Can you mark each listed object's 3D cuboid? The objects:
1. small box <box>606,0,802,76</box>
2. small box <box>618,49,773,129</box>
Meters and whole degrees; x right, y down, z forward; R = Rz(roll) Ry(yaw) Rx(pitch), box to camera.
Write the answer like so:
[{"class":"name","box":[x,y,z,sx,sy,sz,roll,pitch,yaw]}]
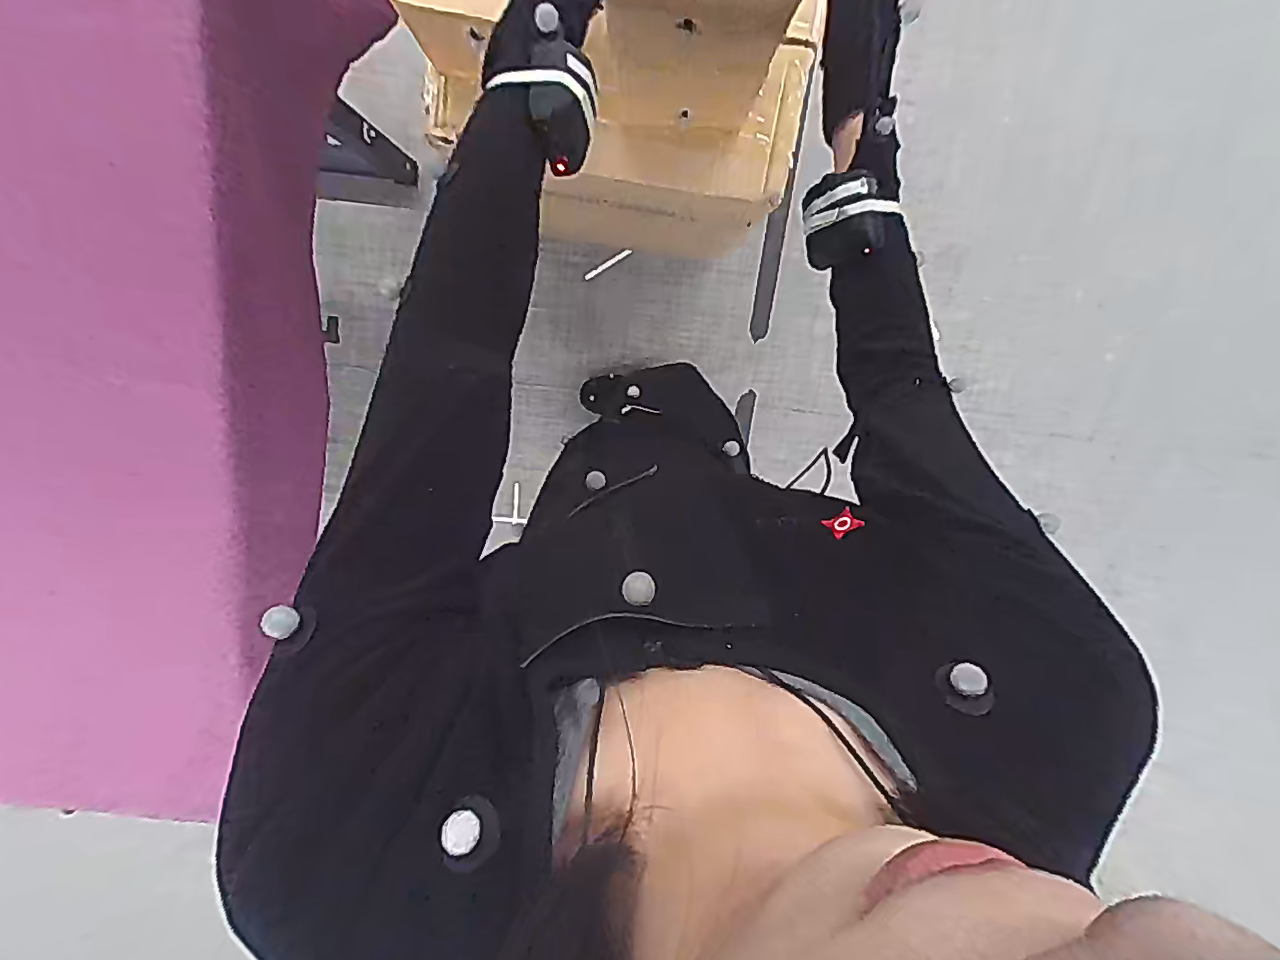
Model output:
[{"class":"small box","box":[0.063,-0.516,0.508,0.179,0.176,0.168,6,104,-1]},{"class":"small box","box":[0.062,-0.558,0.668,0.179,0.176,0.168,1,104,-1]}]
